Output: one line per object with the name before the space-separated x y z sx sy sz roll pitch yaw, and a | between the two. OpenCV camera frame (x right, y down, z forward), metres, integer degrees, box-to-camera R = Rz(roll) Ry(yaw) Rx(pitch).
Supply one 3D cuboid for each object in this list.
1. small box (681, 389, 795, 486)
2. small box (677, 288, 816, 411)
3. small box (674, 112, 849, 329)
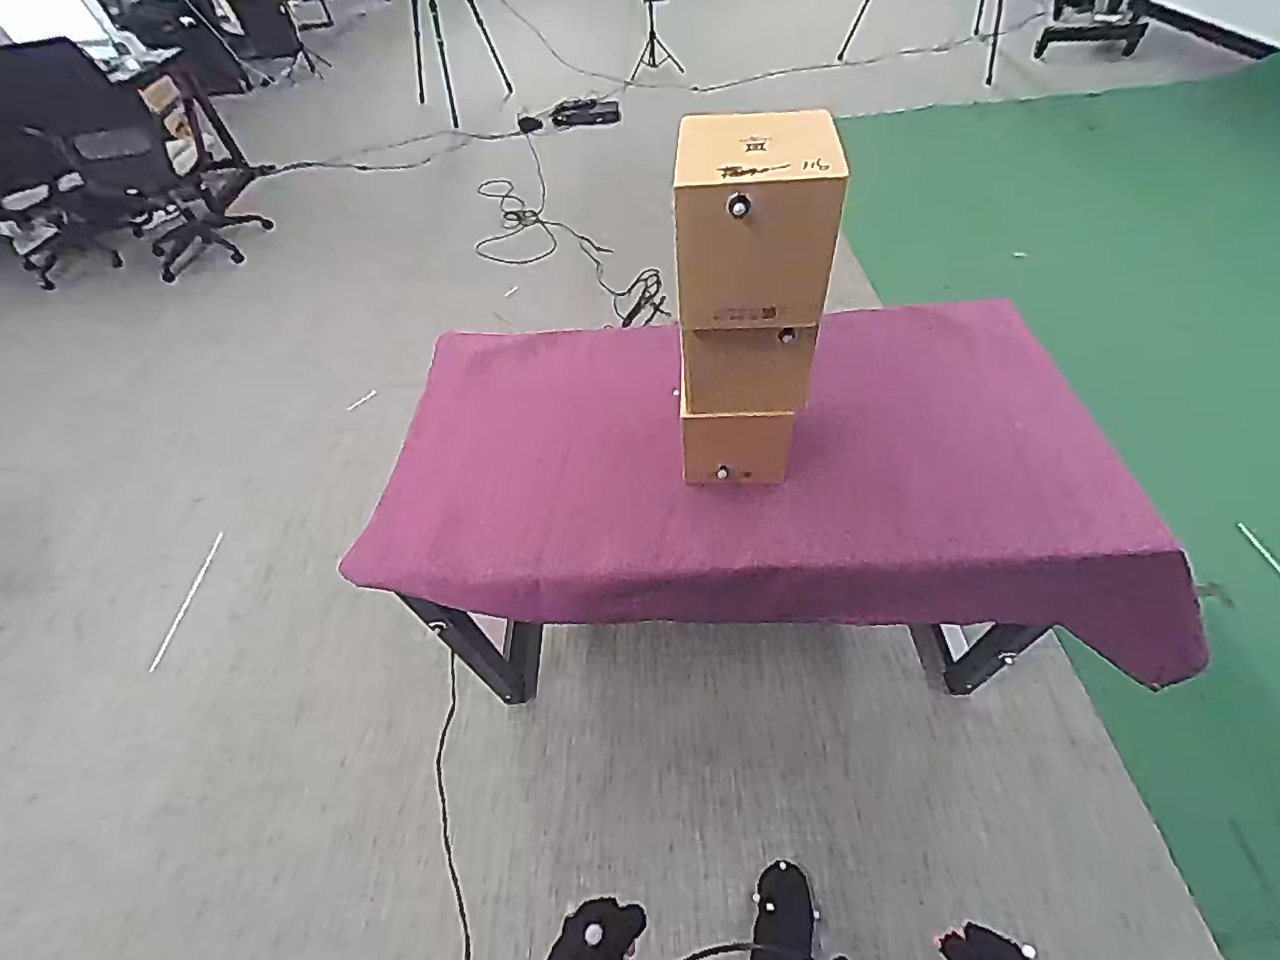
small box | 0.154 -0.109 0.888 0.168 0.176 0.179 -1 53 8
small box | 0.145 -0.210 0.762 0.179 0.176 0.168 -2 52 6
small box | 0.128 -0.293 0.620 0.168 0.176 0.179 0 51 8
